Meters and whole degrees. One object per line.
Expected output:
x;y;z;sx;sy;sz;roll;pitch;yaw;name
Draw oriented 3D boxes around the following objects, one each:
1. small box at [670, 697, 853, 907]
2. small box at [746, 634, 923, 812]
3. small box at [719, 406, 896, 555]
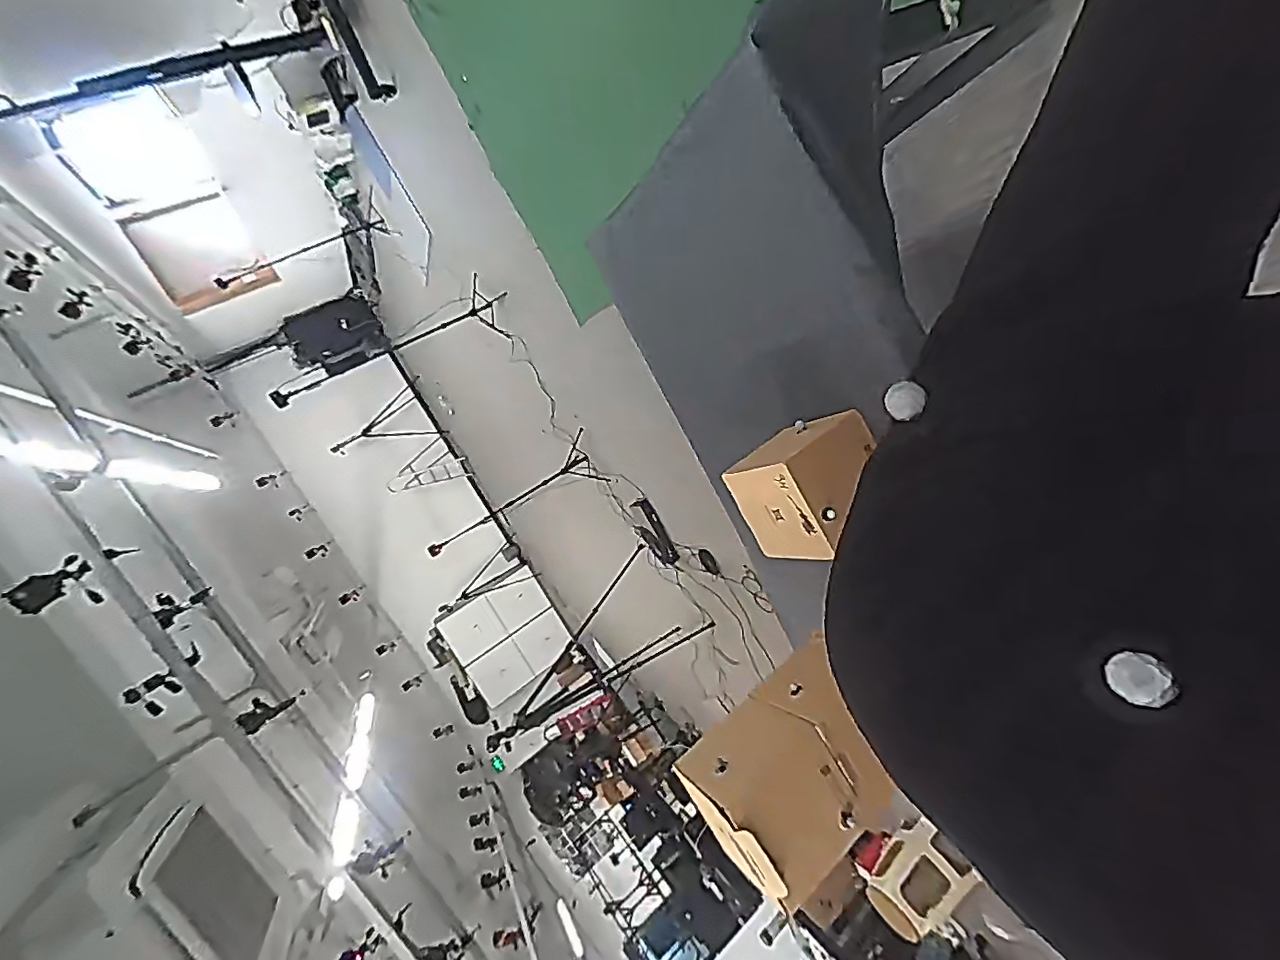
0.180;0.447;0.789;0.168;0.176;0.179;59;159;-3;small box
0.308;0.363;0.849;0.168;0.176;0.179;59;159;-4;small box
0.266;0.002;0.870;0.168;0.176;0.179;59;158;-7;small box
